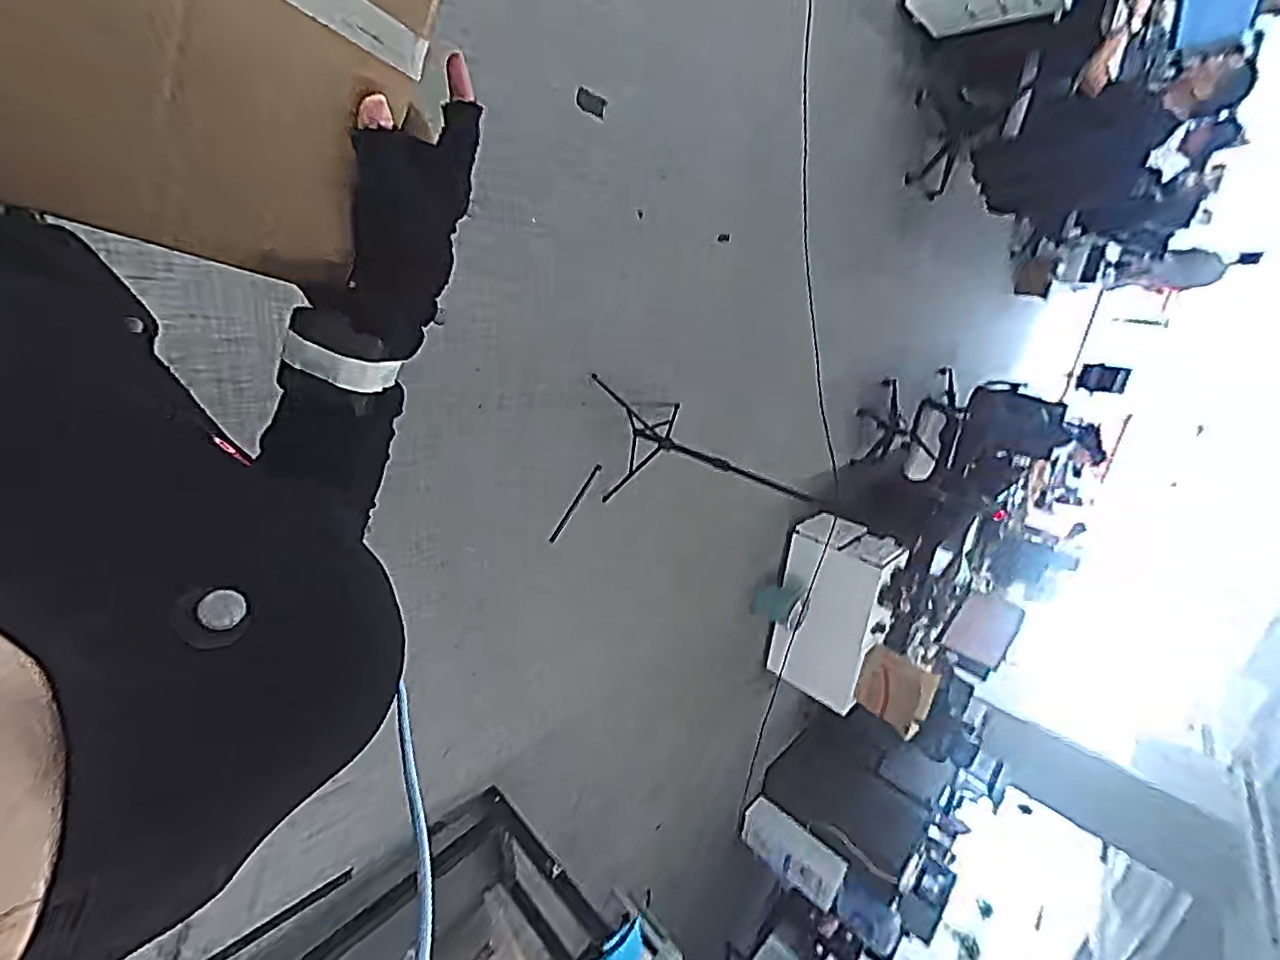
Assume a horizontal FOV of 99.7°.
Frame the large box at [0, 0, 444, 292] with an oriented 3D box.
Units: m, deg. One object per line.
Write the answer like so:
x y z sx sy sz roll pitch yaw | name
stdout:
-0.342 -0.353 0.253 0.408 0.320 0.320 5 132 -47 | large box
